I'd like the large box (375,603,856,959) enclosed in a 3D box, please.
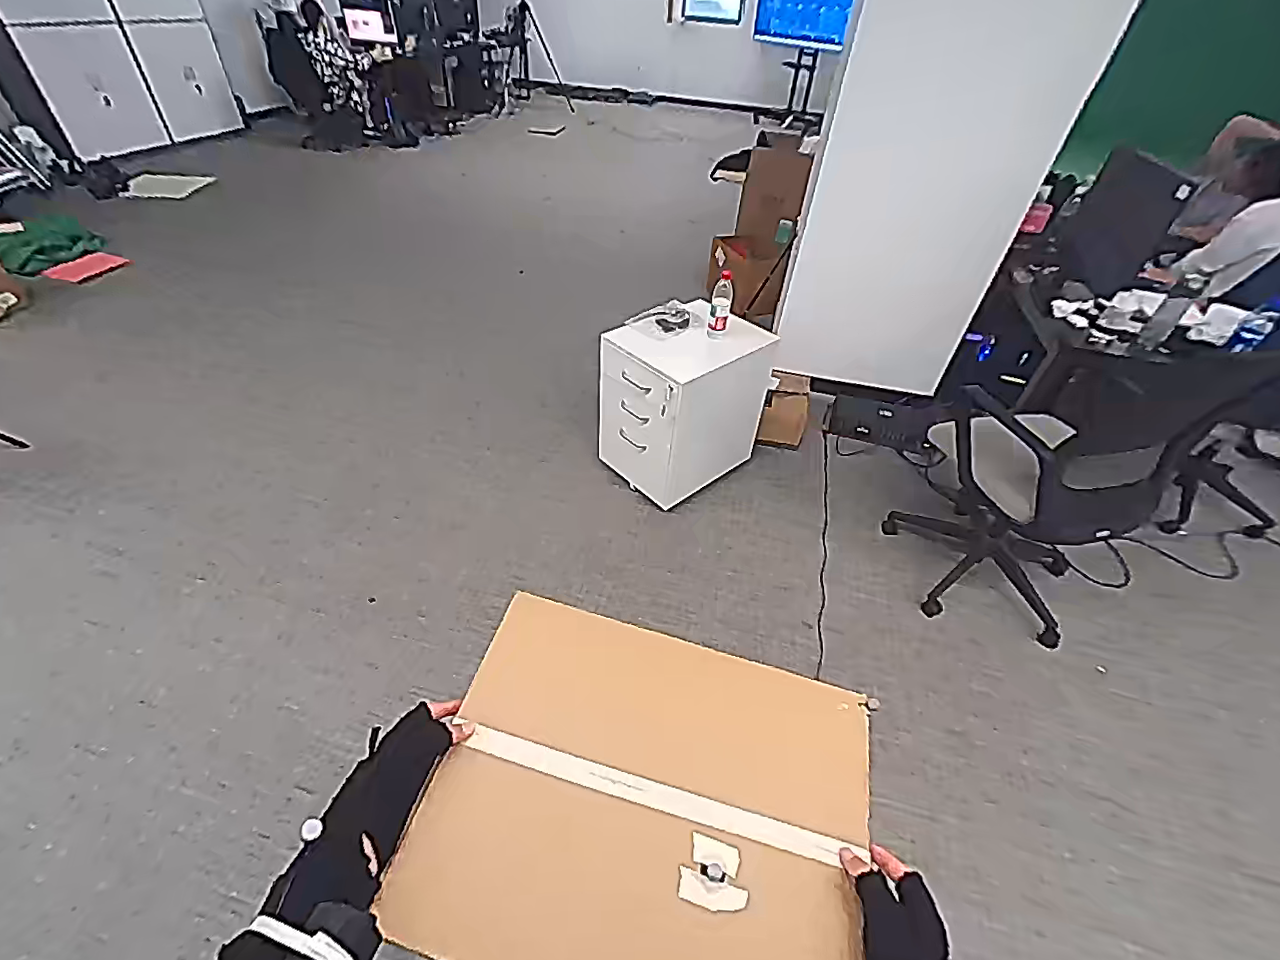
[{"bbox_3d":[-0.008,0.397,0.632,0.408,0.320,0.320,16,51,5],"label":"large box"}]
